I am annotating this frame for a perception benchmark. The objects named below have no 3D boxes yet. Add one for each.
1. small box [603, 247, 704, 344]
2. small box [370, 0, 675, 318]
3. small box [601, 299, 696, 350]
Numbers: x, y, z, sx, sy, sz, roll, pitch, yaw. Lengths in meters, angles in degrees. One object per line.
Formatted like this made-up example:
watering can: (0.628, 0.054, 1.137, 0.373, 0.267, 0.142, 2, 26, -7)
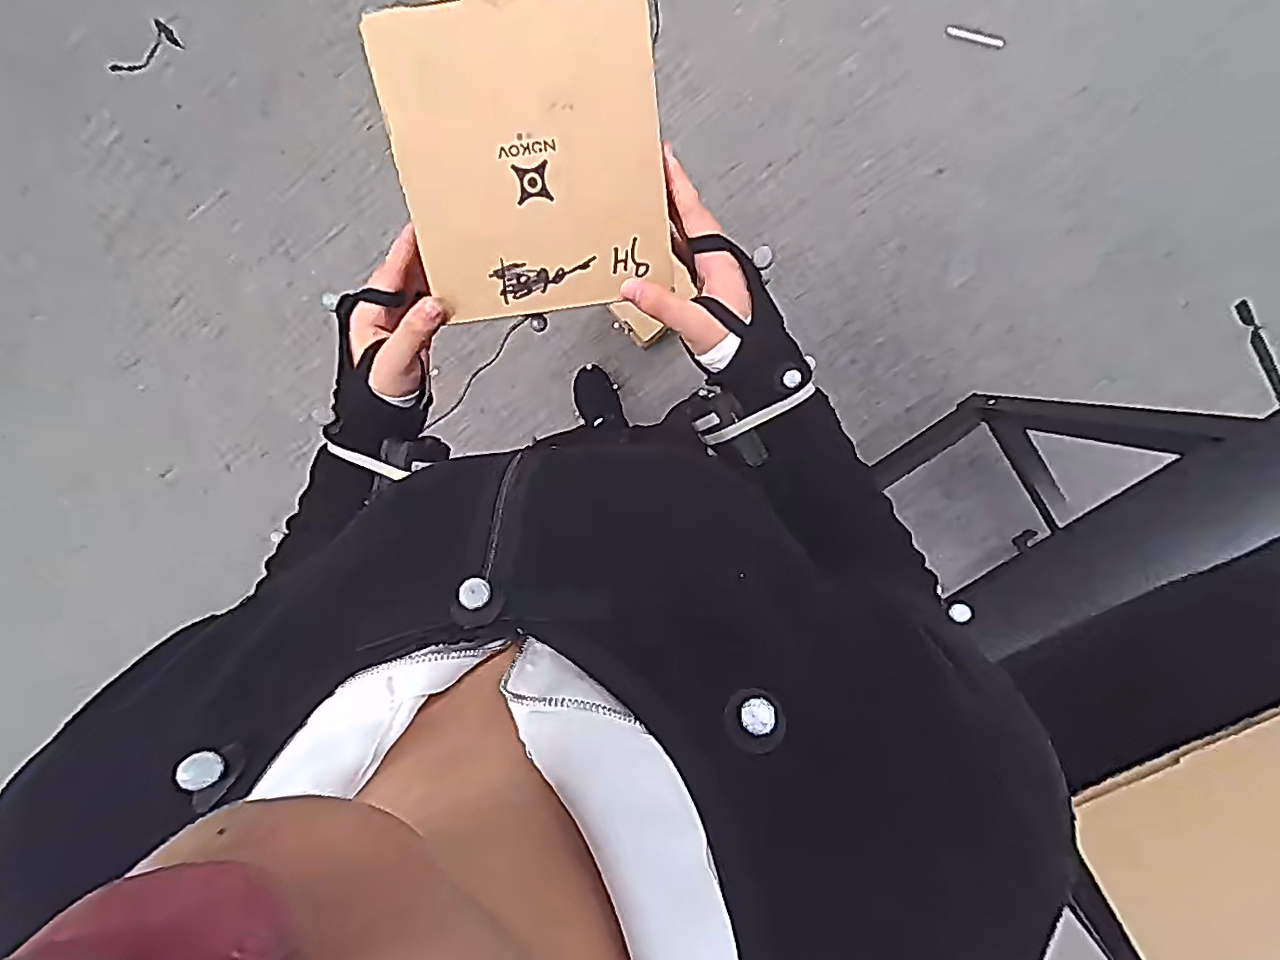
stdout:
small box: (0.015, -0.411, 1.169, 0.179, 0.176, 0.168, -42, 99, 7)
small box: (-0.068, -0.228, 0.412, 0.168, 0.176, 0.179, -7, 112, 1)
small box: (0.015, -0.438, 1.329, 0.179, 0.176, 0.168, -38, 98, 9)
